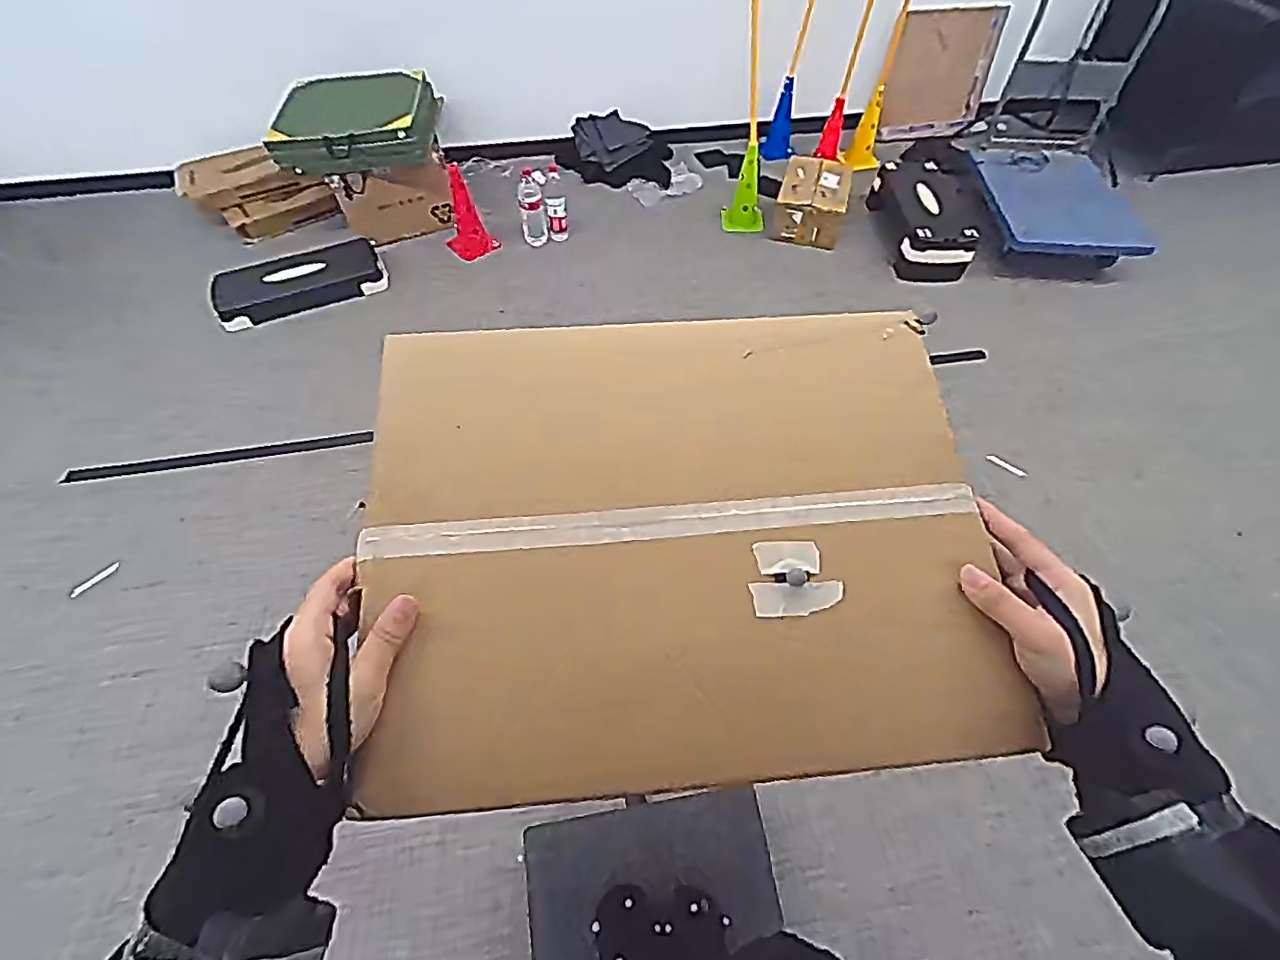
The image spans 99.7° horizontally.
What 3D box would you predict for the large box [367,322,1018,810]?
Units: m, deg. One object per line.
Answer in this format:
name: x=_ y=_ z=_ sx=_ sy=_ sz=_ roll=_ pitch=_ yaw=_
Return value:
large box: x=0.018 y=0.081 z=0.510 sx=0.408 sy=0.320 sz=0.320 roll=-4 pitch=71 yaw=-4
